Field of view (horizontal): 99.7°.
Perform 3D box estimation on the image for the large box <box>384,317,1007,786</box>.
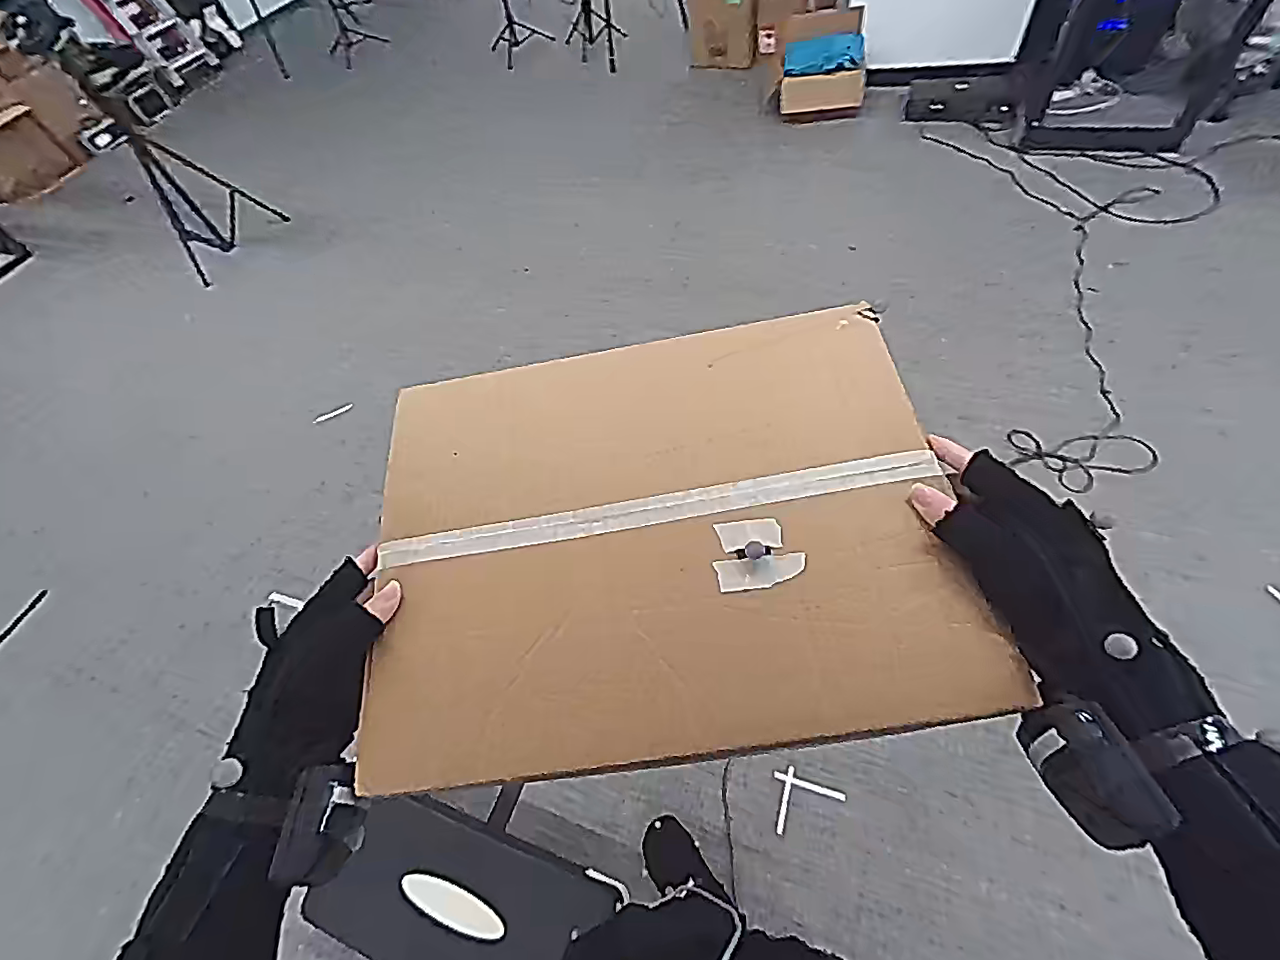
[{"bbox_3d":[0.028,0.095,0.535,0.408,0.320,0.320,-10,62,3],"label":"large box"}]
